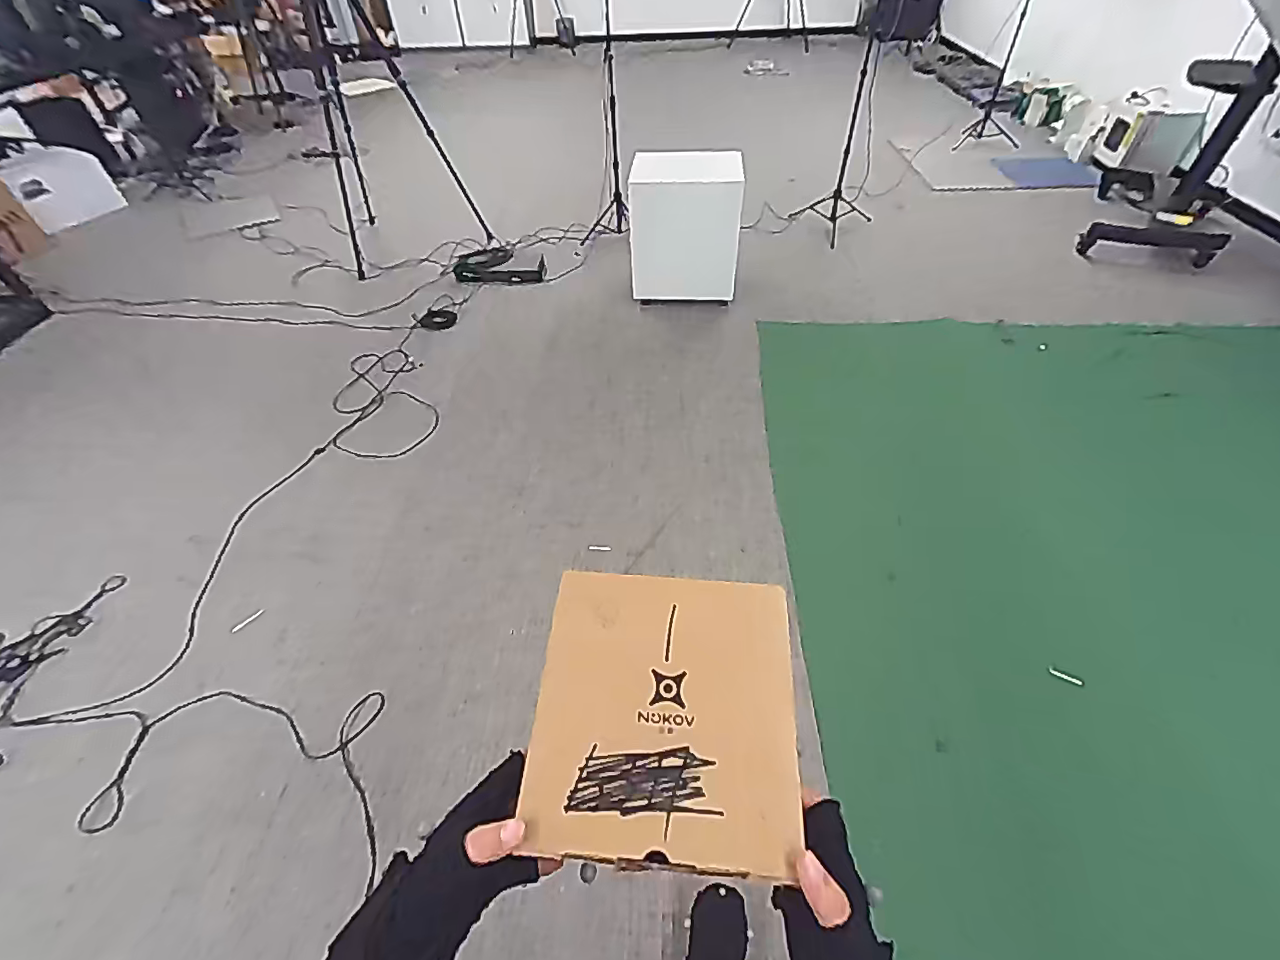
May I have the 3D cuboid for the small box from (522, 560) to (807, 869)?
[{"bbox_3d":[0.023,0.181,0.414,0.168,0.176,0.179,4,55,4],"label":"small box"}]
